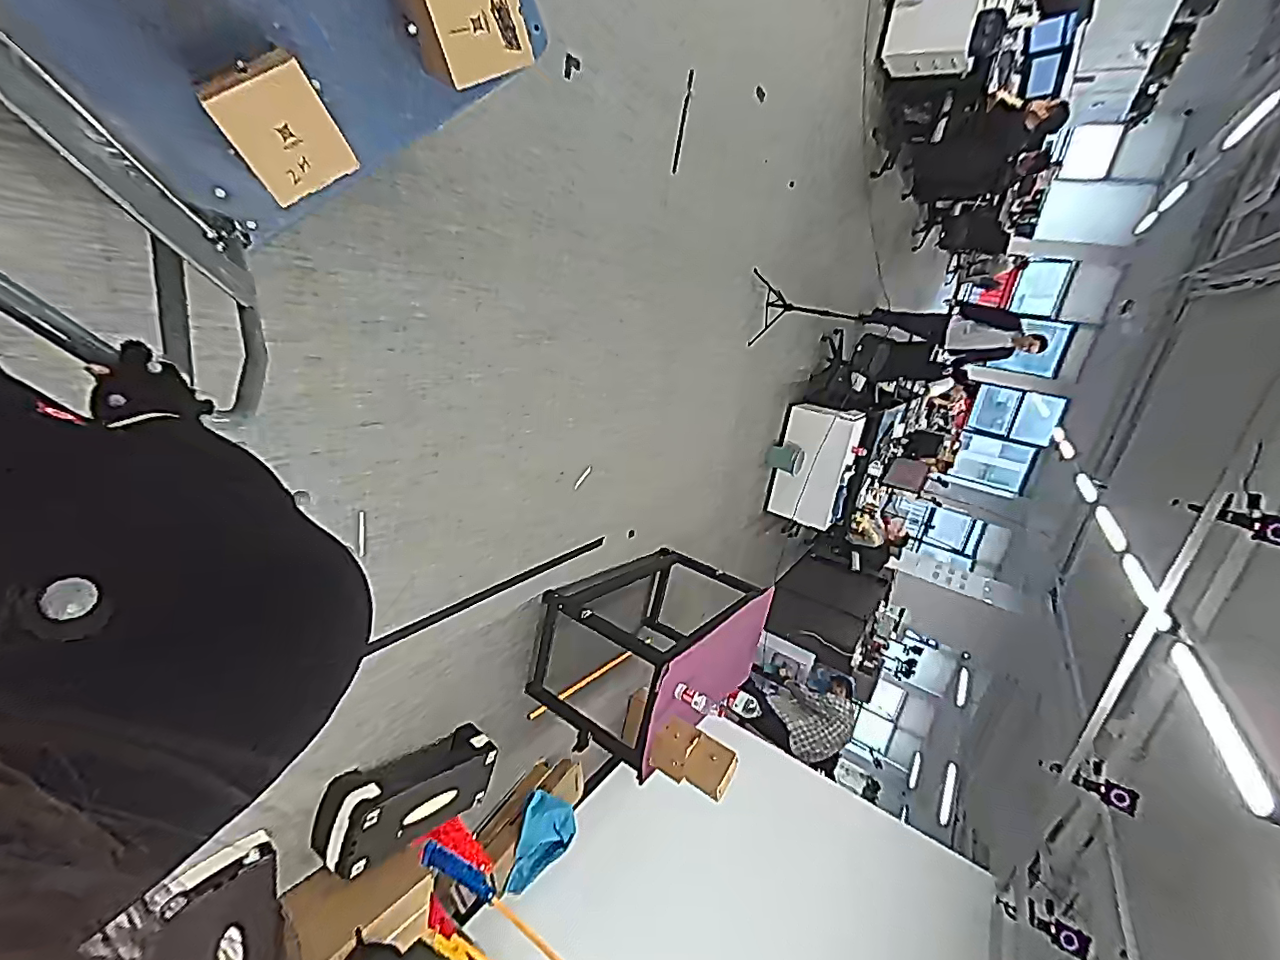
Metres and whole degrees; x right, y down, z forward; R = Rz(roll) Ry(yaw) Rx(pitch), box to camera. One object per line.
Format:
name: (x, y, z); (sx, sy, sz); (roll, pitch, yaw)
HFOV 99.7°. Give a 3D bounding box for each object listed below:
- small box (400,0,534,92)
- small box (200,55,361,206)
small box: (-0.335, -0.882, 1.039); (0.179, 0.176, 0.168); (-31, 142, -15)
small box: (-0.651, -0.637, 0.980); (0.168, 0.176, 0.179); (-35, 143, -11)
